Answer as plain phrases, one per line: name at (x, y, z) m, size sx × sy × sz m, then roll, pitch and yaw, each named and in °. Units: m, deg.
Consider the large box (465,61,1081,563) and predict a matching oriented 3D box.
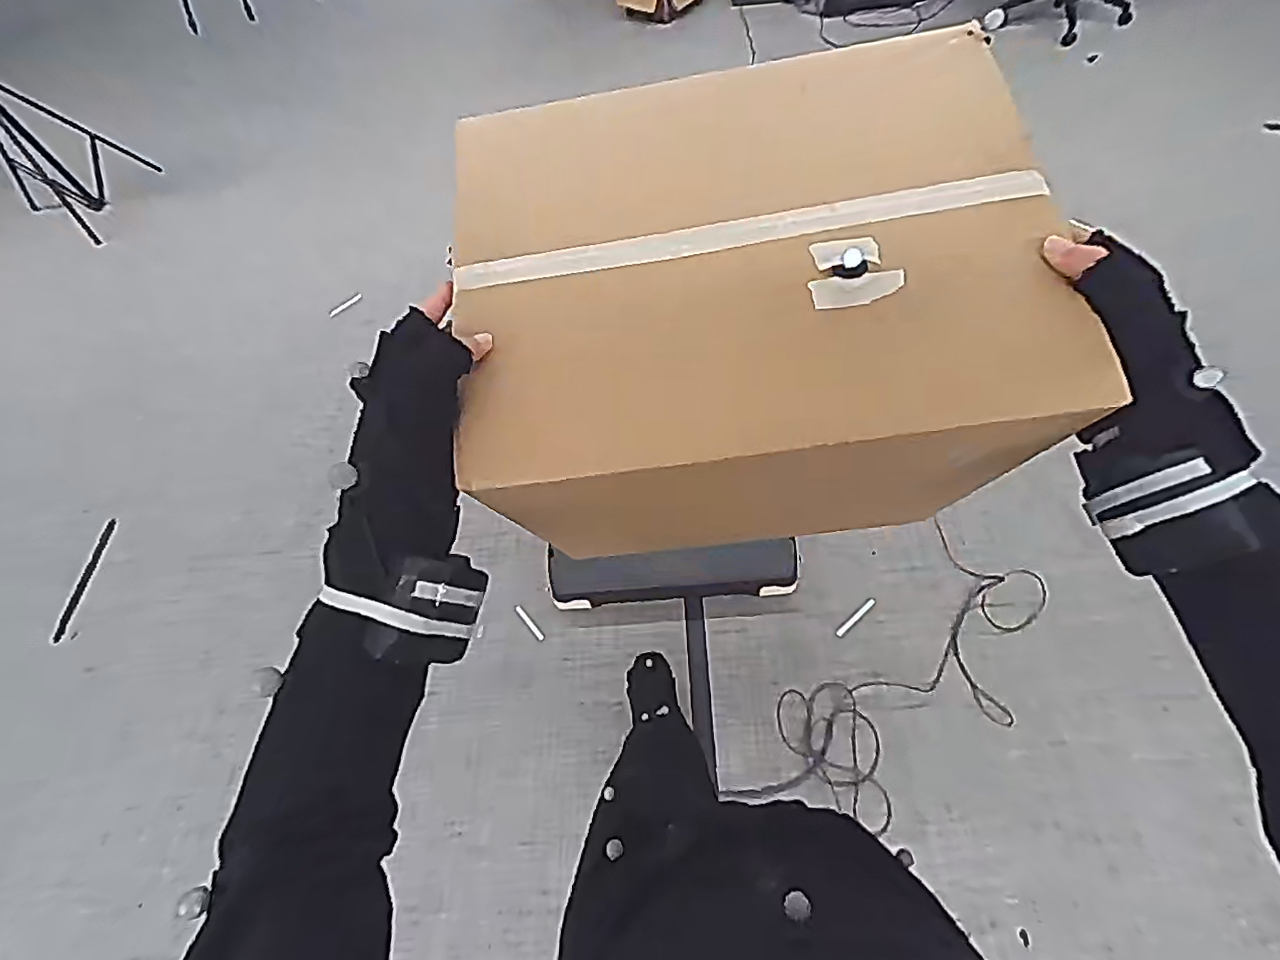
large box at (0.079, -0.117, 0.537) m, size 0.408 × 0.320 × 0.320 m, roll -8°, pitch 72°, yaw 4°
